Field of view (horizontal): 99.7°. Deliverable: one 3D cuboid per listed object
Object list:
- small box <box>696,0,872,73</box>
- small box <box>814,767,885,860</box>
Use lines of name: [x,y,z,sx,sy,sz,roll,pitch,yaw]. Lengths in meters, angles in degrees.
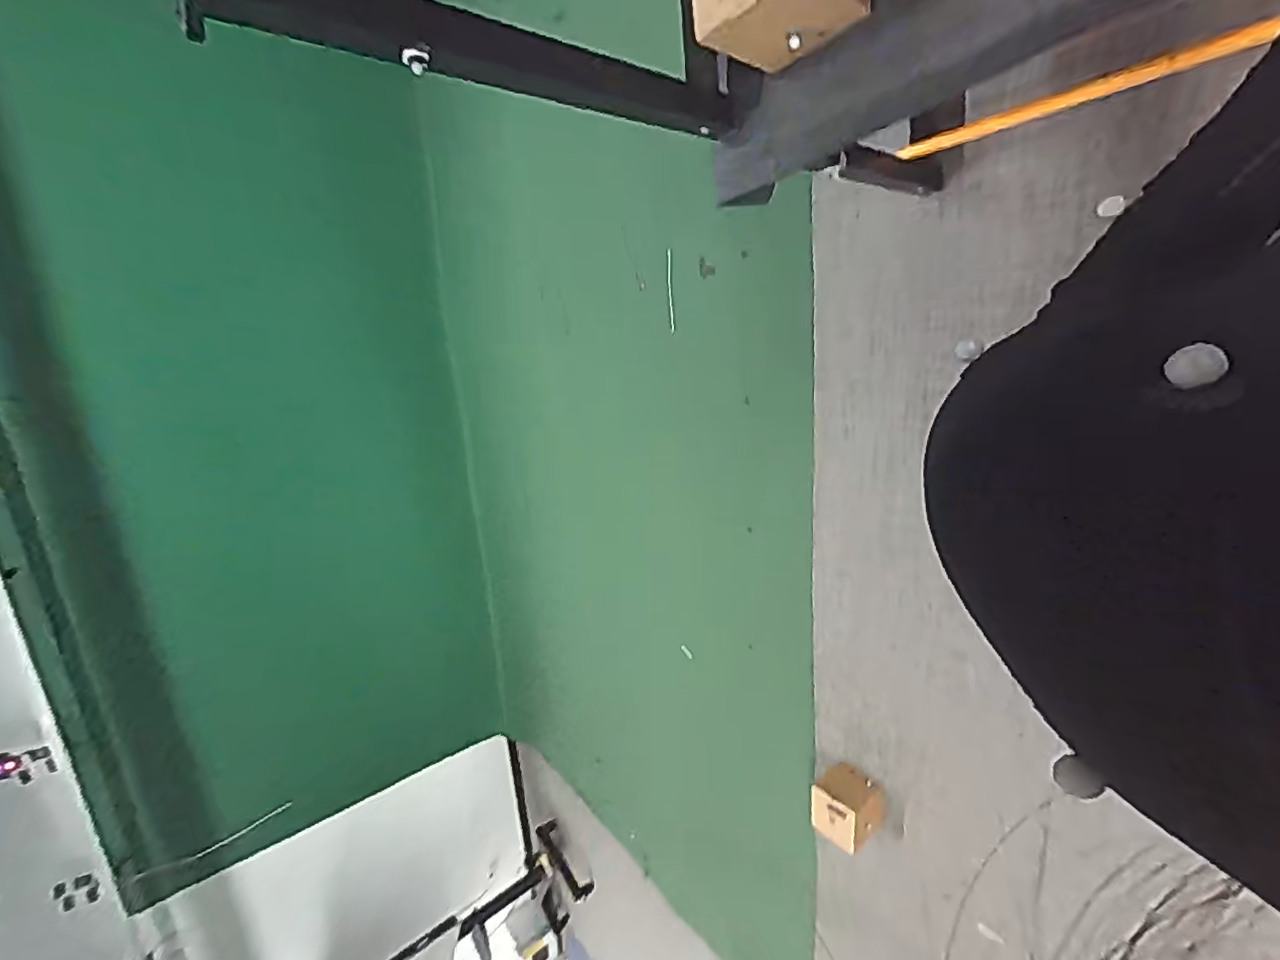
small box: [0.189,-0.691,0.716,0.168,0.176,0.179,8,107,52]
small box: [0.718,1.131,1.850,0.168,0.176,0.179,14,113,51]
